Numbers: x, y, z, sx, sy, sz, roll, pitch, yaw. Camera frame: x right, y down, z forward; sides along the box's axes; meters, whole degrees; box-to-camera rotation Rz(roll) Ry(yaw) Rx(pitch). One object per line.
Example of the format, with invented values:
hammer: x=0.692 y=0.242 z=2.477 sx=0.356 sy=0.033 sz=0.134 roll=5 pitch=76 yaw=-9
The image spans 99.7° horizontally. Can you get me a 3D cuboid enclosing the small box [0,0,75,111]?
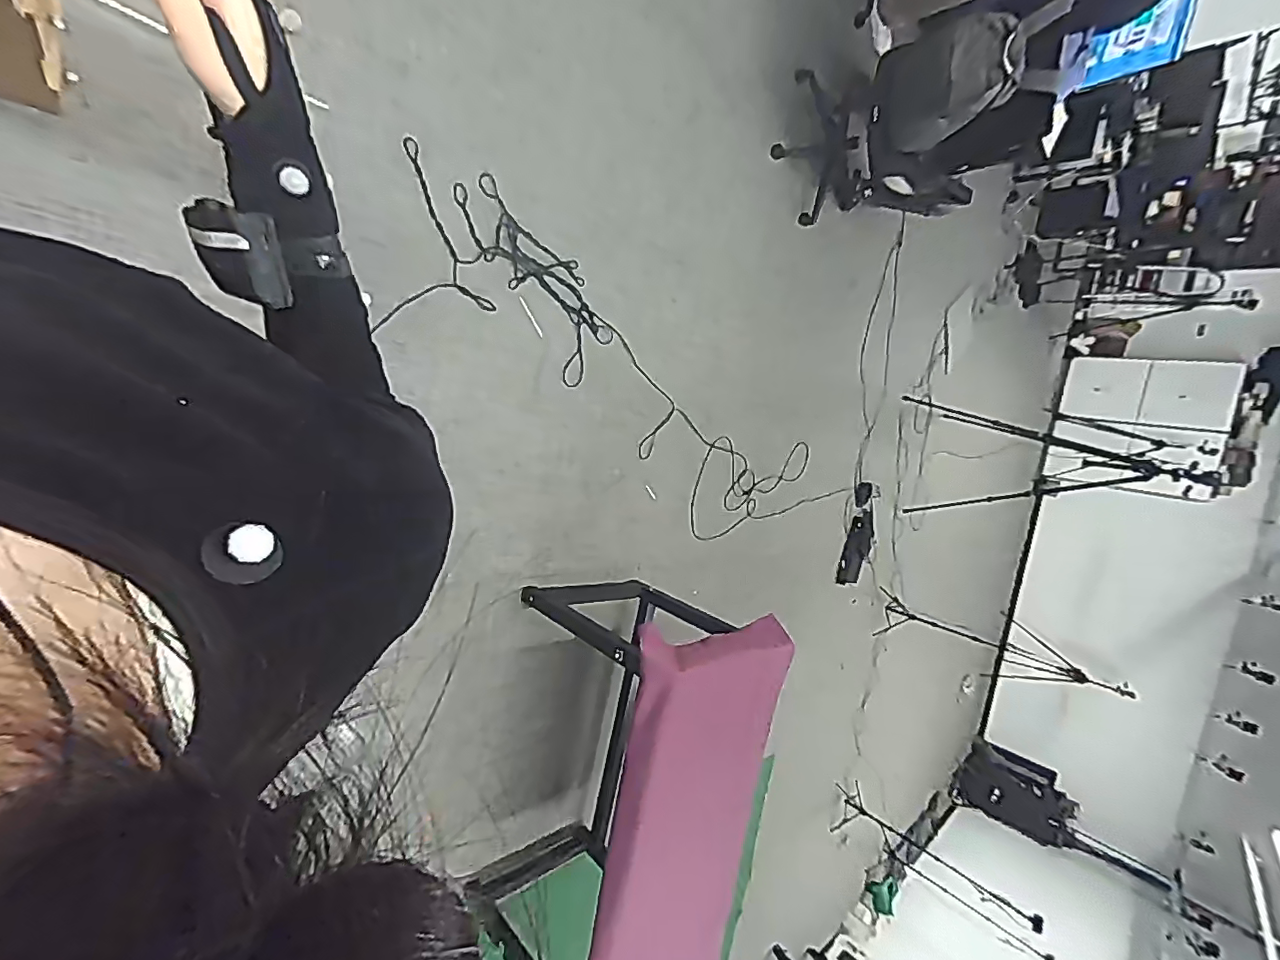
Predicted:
small box: x=-1.032 y=-0.728 z=0.857 sx=0.179 sy=0.176 sz=0.168 roll=4 pitch=99 yaw=-45

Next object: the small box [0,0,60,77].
small box: x=-0.928 y=-0.697 z=0.735 sx=0.179 sy=0.176 sz=0.168 roll=4 pitch=99 yaw=-45

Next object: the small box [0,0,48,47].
small box: x=-0.816 y=-0.649 z=0.625 sx=0.179 sy=0.176 sz=0.168 roll=1 pitch=101 yaw=-45
